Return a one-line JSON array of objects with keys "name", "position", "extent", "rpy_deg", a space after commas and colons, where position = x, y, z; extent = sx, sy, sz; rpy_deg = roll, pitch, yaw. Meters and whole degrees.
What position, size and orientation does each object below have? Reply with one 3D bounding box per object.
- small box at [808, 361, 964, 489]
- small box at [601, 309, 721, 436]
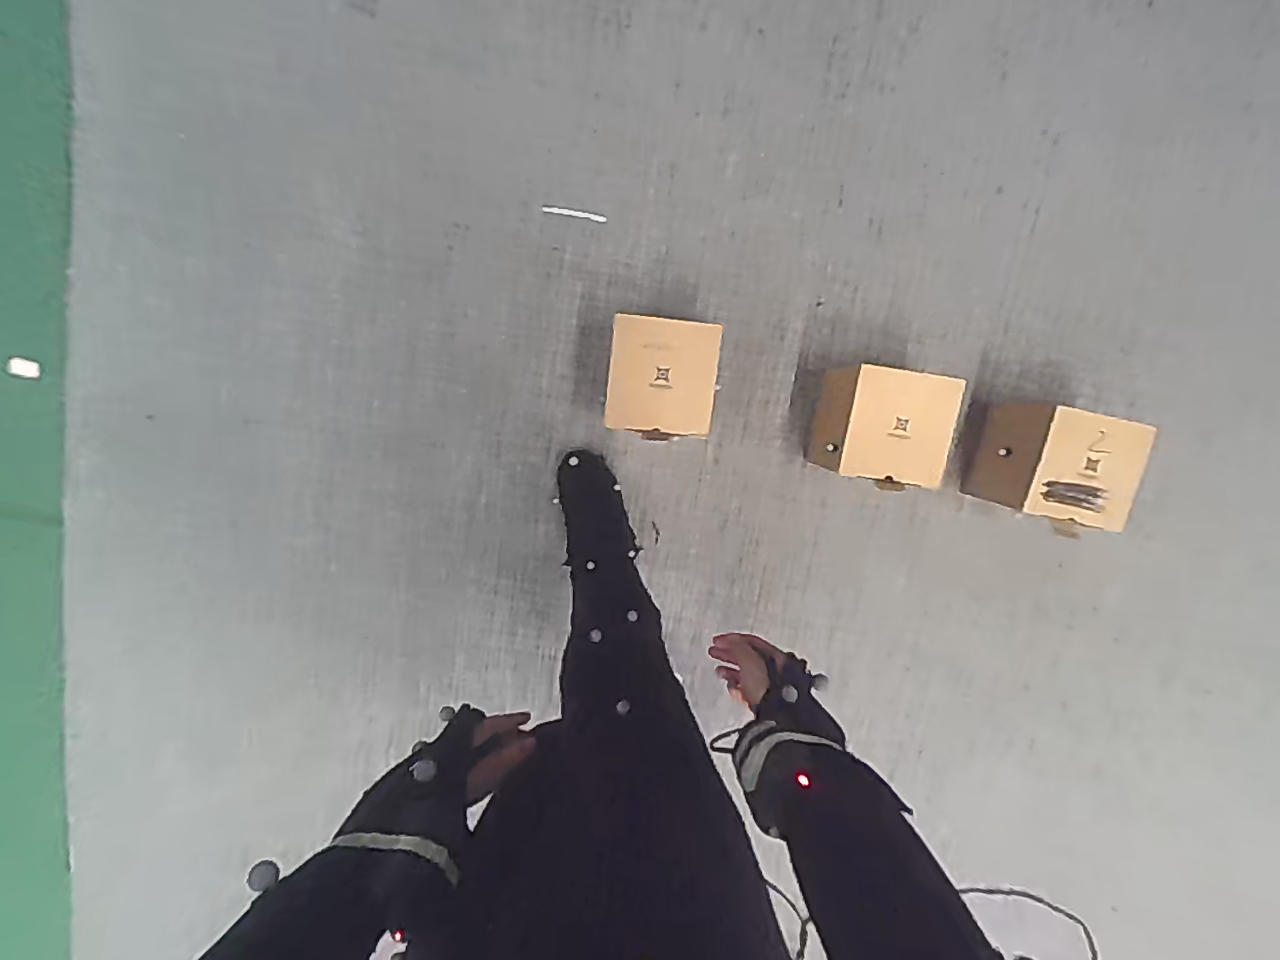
[{"name": "small box", "position": [0.398, -0.095, 0.907], "extent": [0.168, 0.176, 0.179], "rpy_deg": [9, 99, -2]}, {"name": "small box", "position": [0.031, -0.172, 0.895], "extent": [0.168, 0.176, 0.179], "rpy_deg": [6, 98, -2]}]
